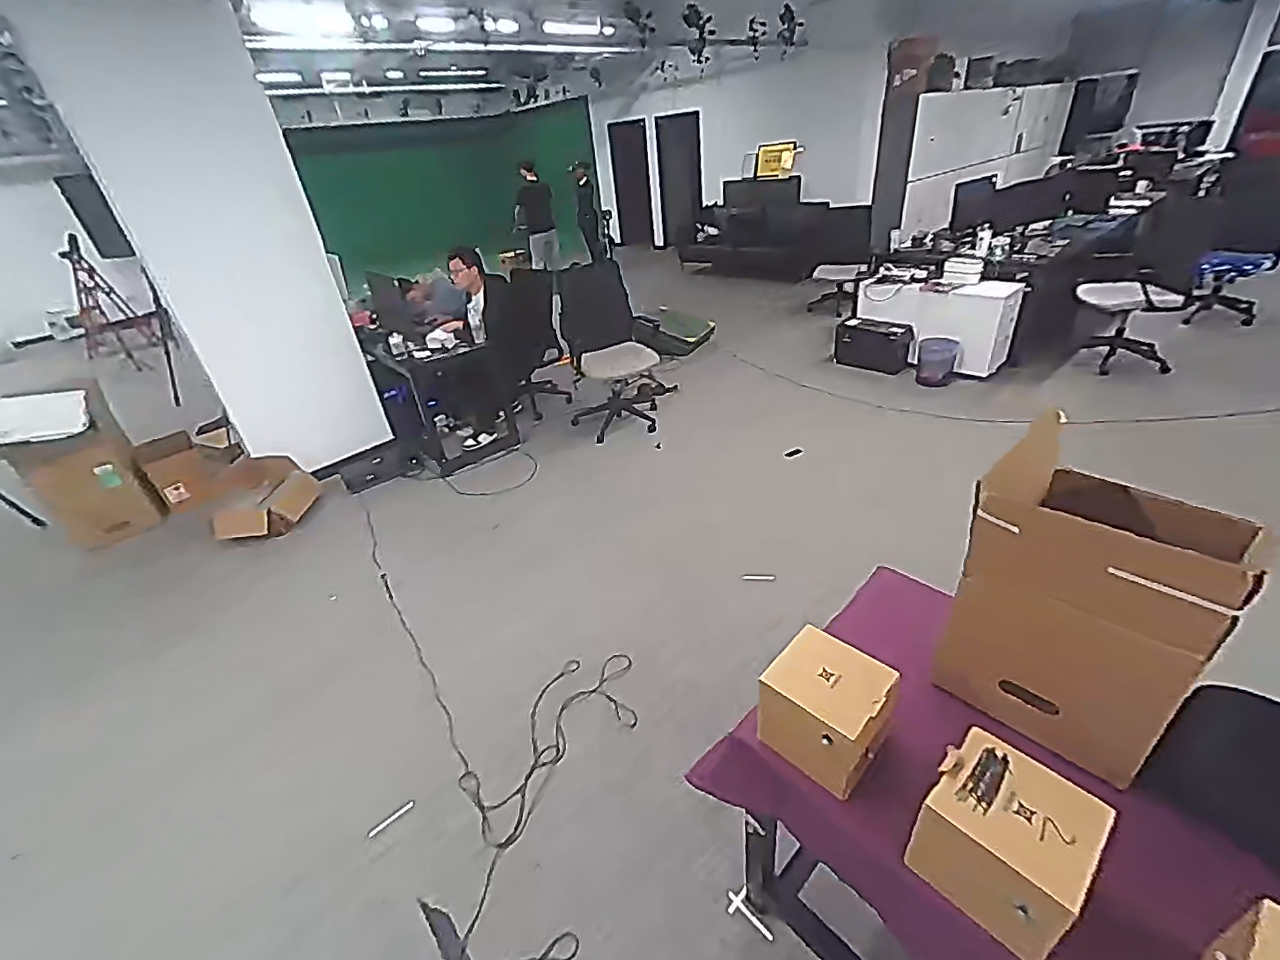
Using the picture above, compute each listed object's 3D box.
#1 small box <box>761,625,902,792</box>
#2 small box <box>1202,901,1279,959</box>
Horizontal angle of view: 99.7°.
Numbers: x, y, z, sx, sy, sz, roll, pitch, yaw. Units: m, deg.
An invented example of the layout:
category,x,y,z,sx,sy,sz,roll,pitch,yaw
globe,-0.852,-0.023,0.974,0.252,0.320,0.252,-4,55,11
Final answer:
category,x,y,z,sx,sy,sz,roll,pitch,yaw
small box,0.327,0.399,0.952,0.179,0.176,0.168,25,43,39
small box,0.698,0.603,0.554,0.179,0.176,0.168,-27,37,-29
